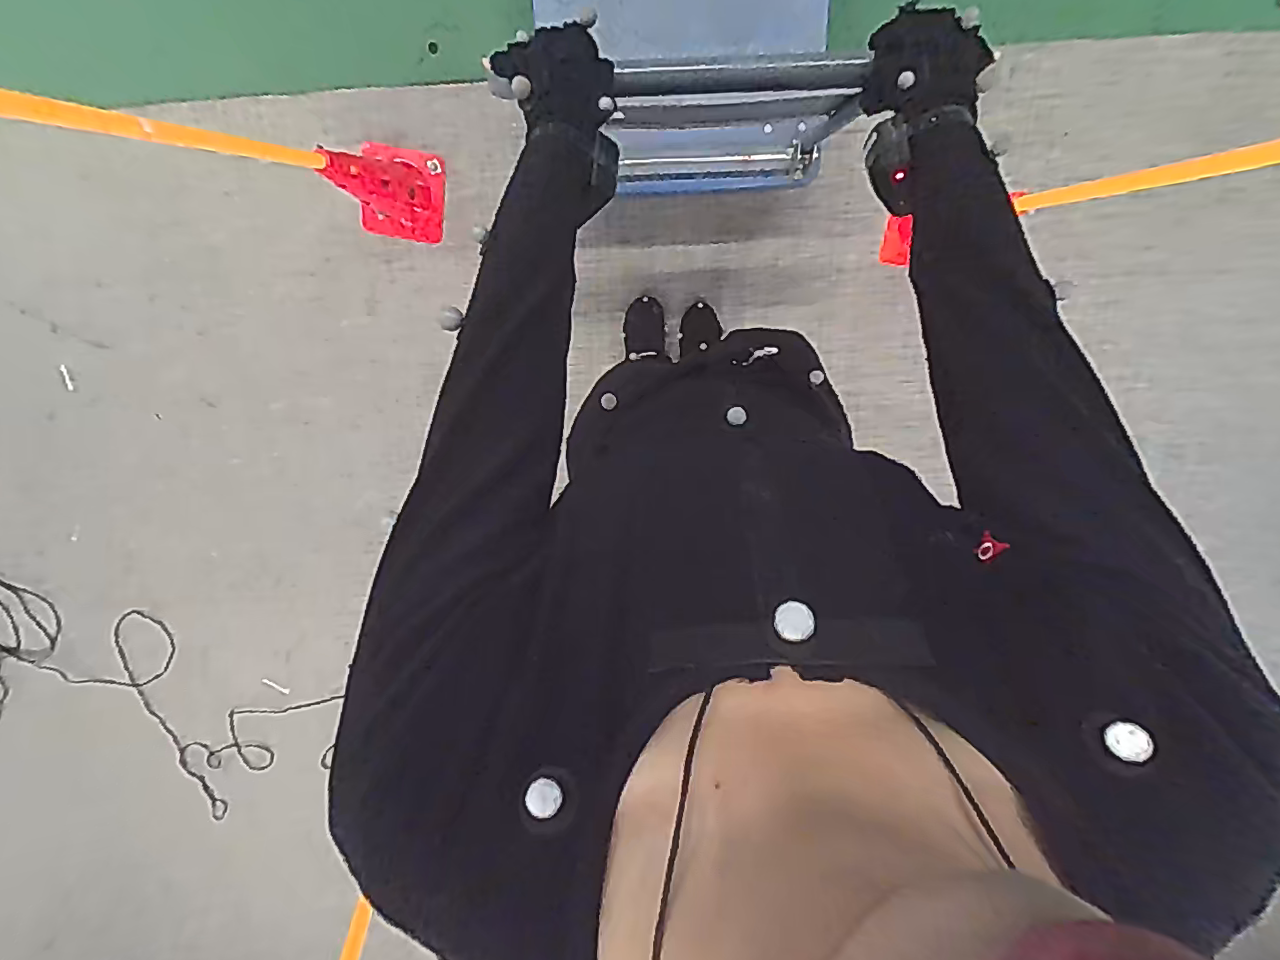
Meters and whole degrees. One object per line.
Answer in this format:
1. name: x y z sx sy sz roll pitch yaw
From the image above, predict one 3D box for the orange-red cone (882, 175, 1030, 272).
1. orange-red cone: 0.706 -0.569 1.162 0.198 0.360 0.199 8 110 -2
